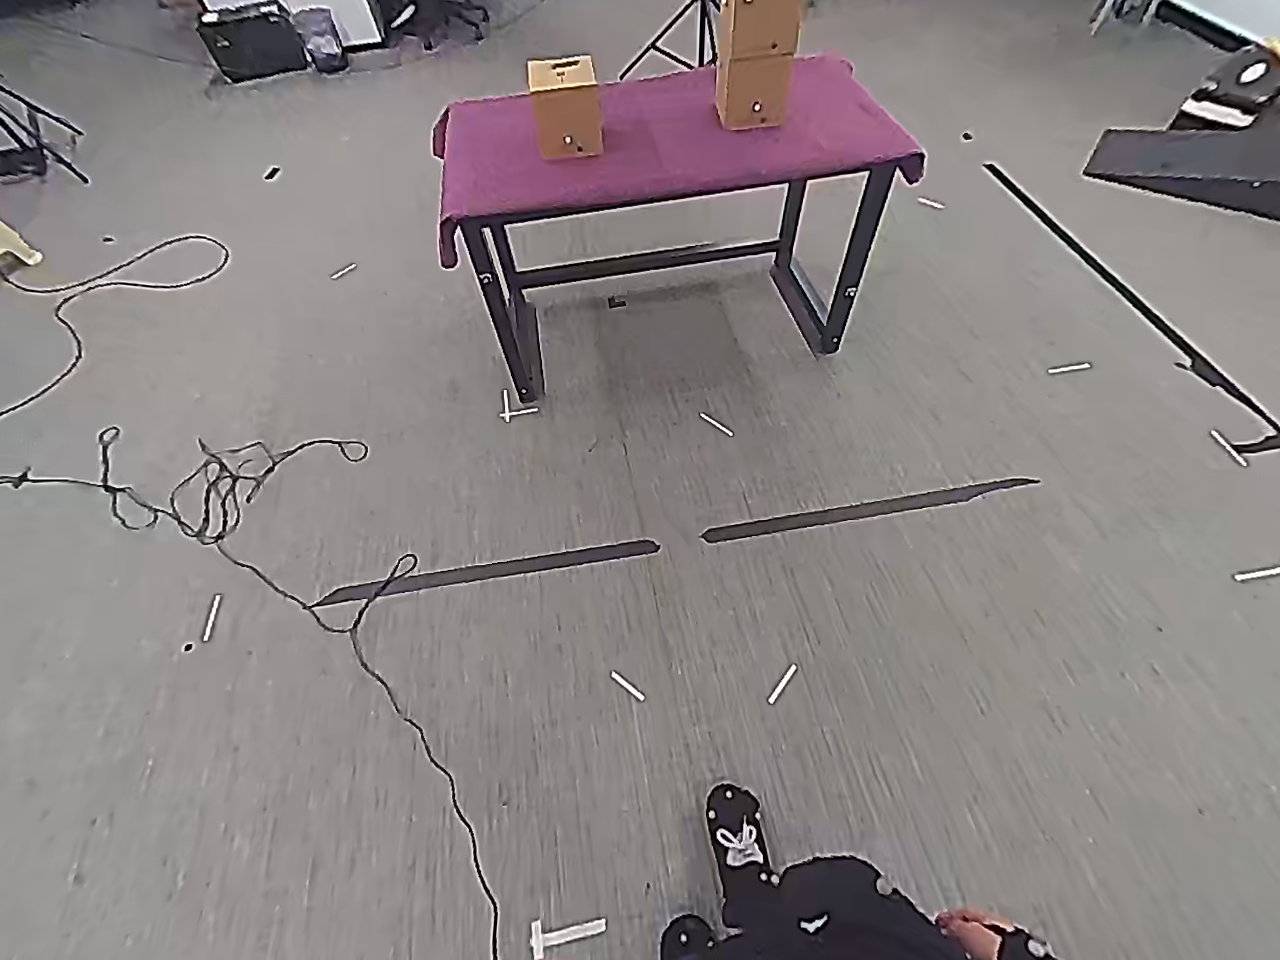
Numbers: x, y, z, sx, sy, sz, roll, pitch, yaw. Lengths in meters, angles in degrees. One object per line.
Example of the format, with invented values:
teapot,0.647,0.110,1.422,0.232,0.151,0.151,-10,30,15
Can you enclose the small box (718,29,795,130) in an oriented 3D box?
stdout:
small box,0.306,-1.077,1.456,0.168,0.176,0.179,-5,56,1

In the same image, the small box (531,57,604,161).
small box,-0.189,-0.971,1.420,0.168,0.176,0.179,-8,57,-2
